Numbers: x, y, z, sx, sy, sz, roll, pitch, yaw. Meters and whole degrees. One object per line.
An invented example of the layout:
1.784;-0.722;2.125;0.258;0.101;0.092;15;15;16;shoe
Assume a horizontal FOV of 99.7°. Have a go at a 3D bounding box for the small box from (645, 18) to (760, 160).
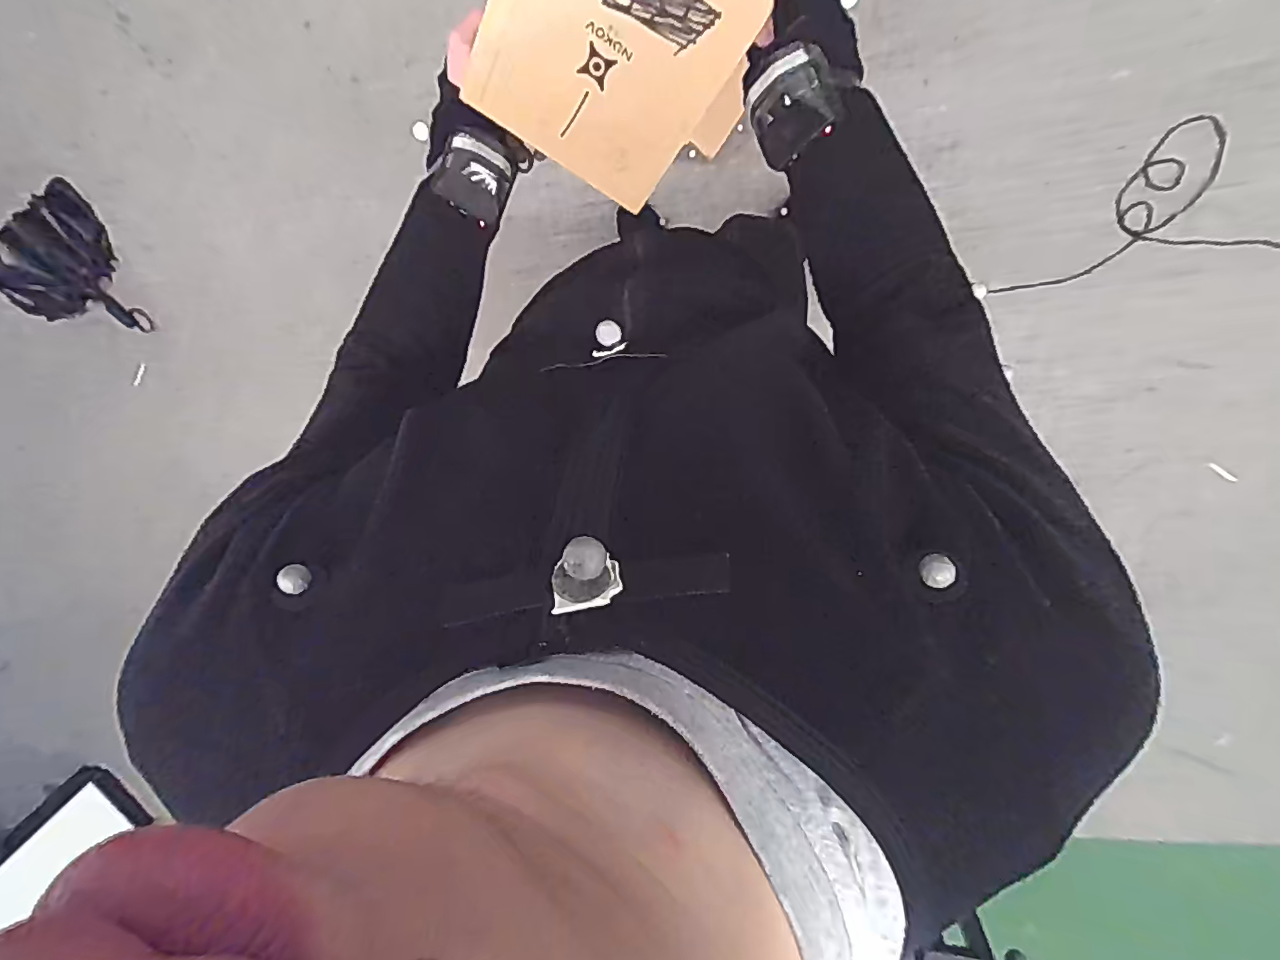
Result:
0.133;-0.813;1.150;0.168;0.176;0.179;33;116;-11;small box
